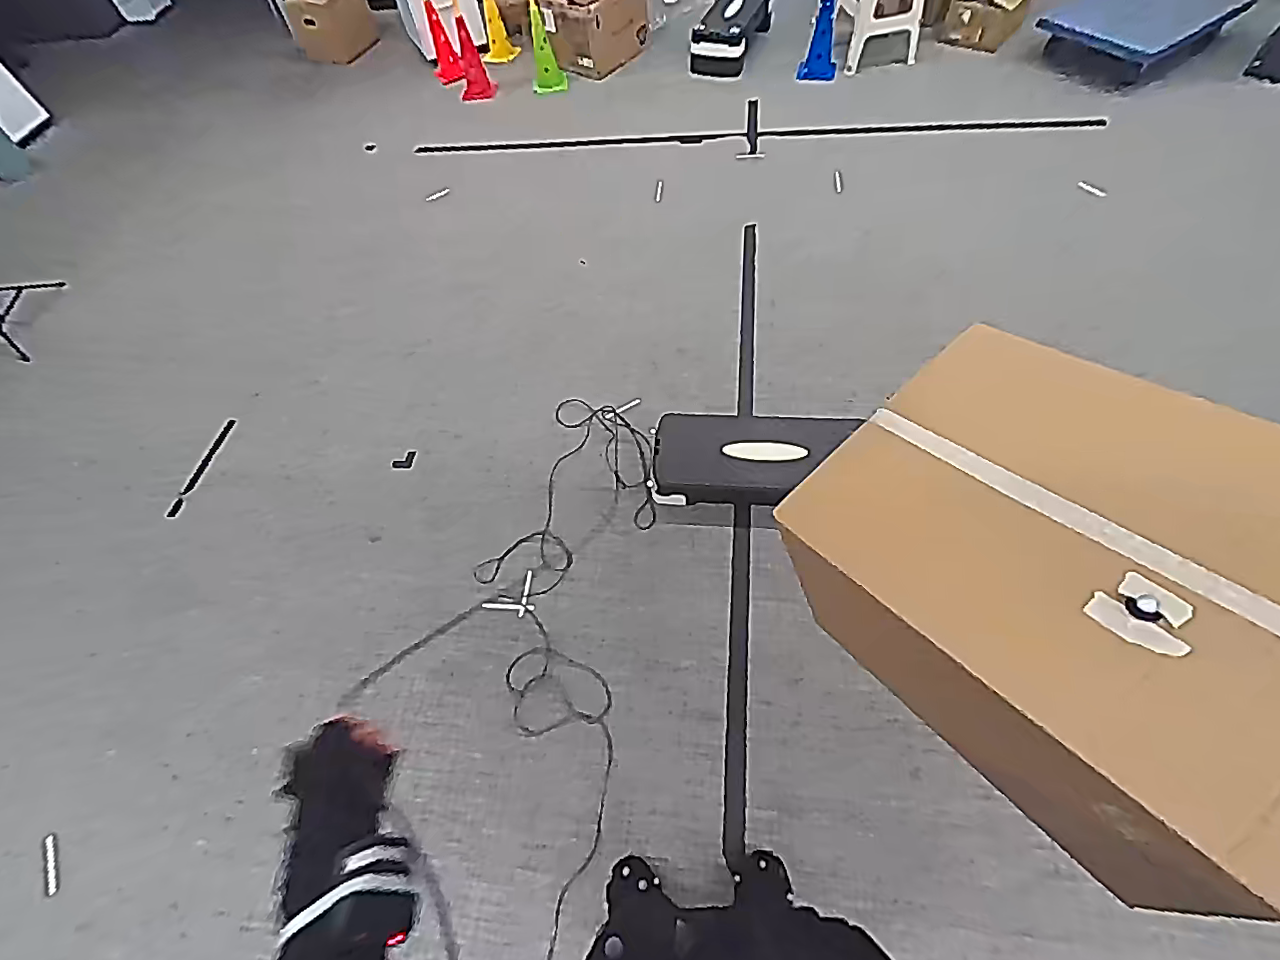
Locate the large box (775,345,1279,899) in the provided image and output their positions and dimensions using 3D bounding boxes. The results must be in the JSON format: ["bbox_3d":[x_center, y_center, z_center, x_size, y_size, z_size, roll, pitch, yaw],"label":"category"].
[{"bbox_3d":[0.415,0.127,0.566,0.320,0.320,0.408,-42,48,-6],"label":"large box"}]
